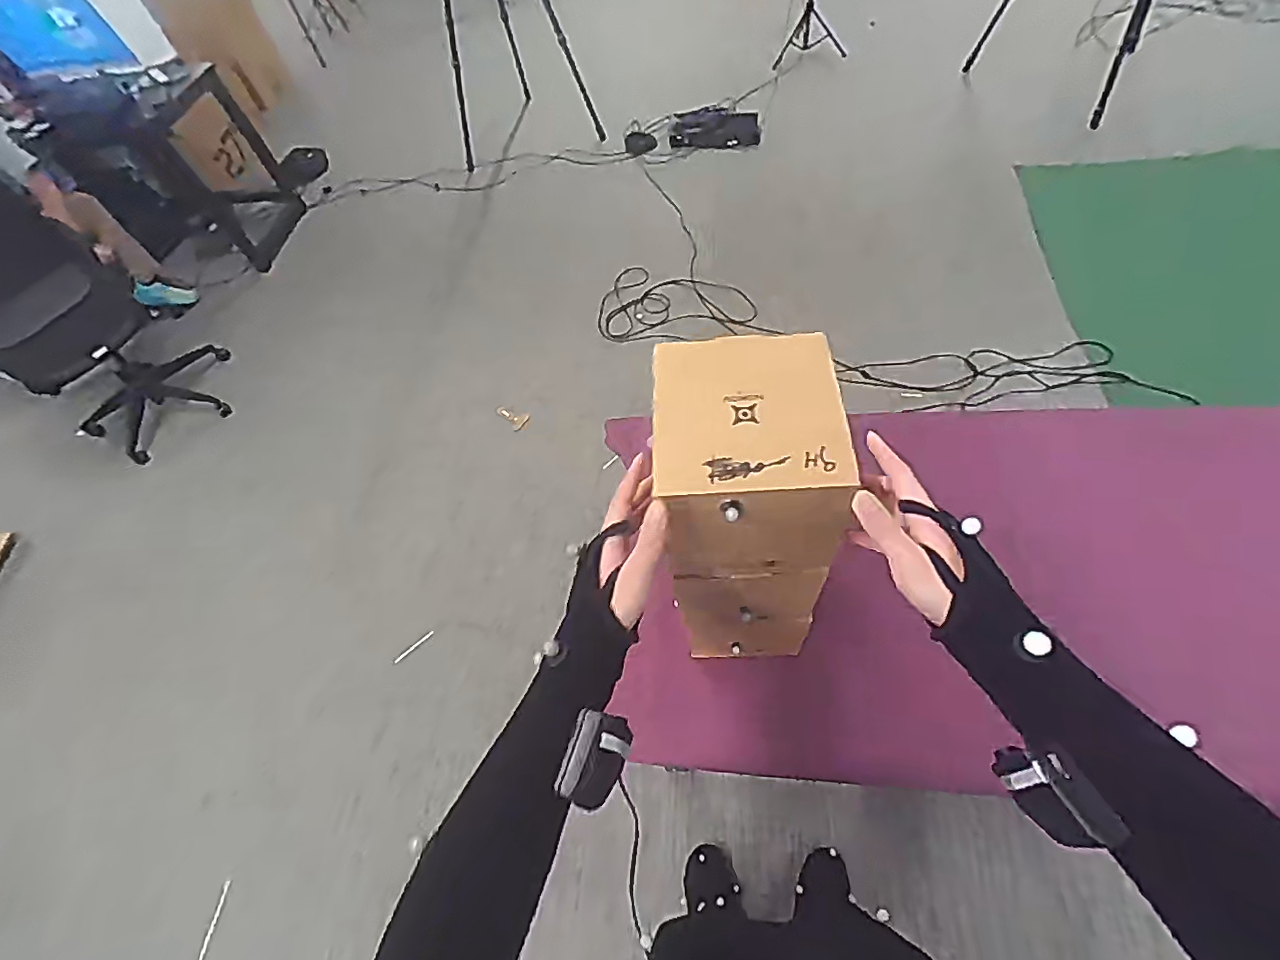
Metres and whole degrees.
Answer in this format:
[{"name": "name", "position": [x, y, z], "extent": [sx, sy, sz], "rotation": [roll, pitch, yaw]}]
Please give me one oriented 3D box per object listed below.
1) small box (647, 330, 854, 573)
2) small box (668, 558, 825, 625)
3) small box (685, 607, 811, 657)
[{"name": "small box", "position": [0.099, -0.022, 0.539], "extent": [0.168, 0.176, 0.179], "rotation": [-3, 56, 8]}, {"name": "small box", "position": [0.120, 0.068, 0.676], "extent": [0.168, 0.176, 0.179], "rotation": [-5, 57, 6]}, {"name": "small box", "position": [0.149, 0.155, 0.812], "extent": [0.168, 0.176, 0.179], "rotation": [-4, 58, 6]}]
